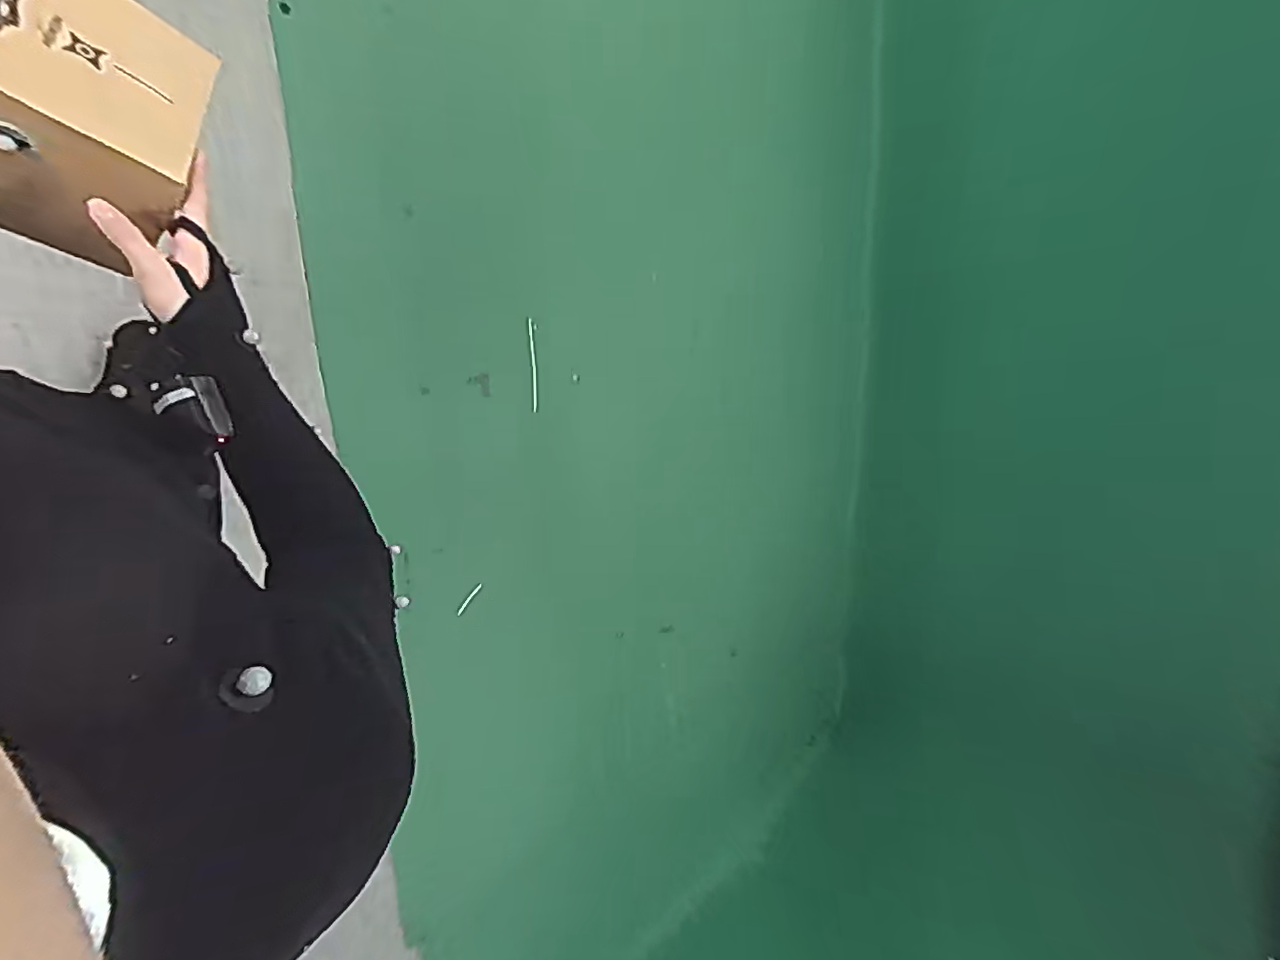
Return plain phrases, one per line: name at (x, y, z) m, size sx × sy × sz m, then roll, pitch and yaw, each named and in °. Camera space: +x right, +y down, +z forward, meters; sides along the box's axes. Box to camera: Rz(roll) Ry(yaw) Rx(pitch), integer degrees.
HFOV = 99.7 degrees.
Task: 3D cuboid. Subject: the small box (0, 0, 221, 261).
small box at (-0.513, -0.330, 0.473) m, size 0.179 × 0.176 × 0.168 m, roll 20°, pitch 58°, yaw -48°
